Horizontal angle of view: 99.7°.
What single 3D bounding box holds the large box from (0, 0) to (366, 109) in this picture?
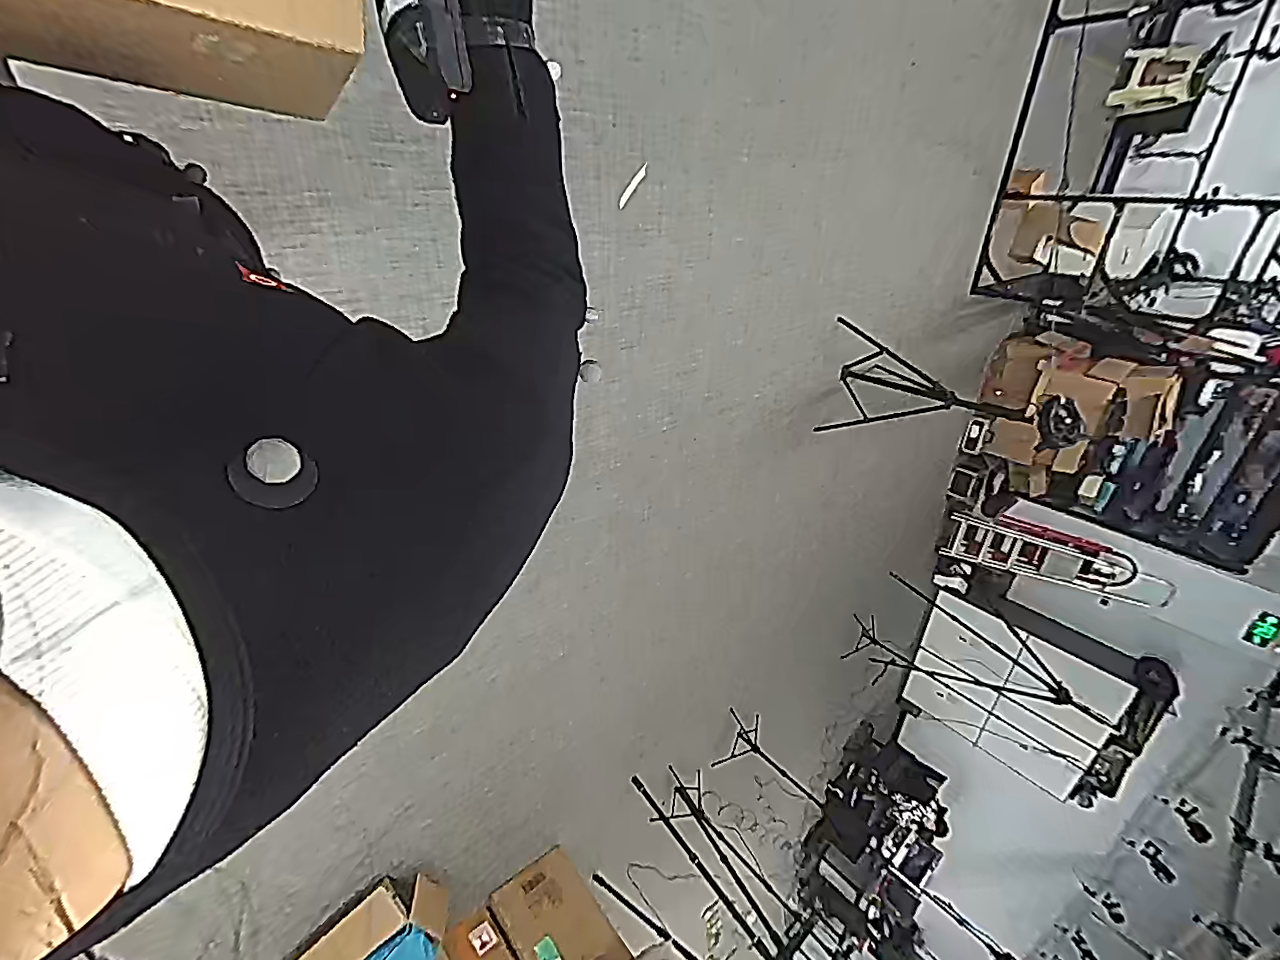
[{"bbox_3d":[-0.400,-0.428,0.275,0.408,0.320,0.320,-10,119,-33],"label":"large box"}]
